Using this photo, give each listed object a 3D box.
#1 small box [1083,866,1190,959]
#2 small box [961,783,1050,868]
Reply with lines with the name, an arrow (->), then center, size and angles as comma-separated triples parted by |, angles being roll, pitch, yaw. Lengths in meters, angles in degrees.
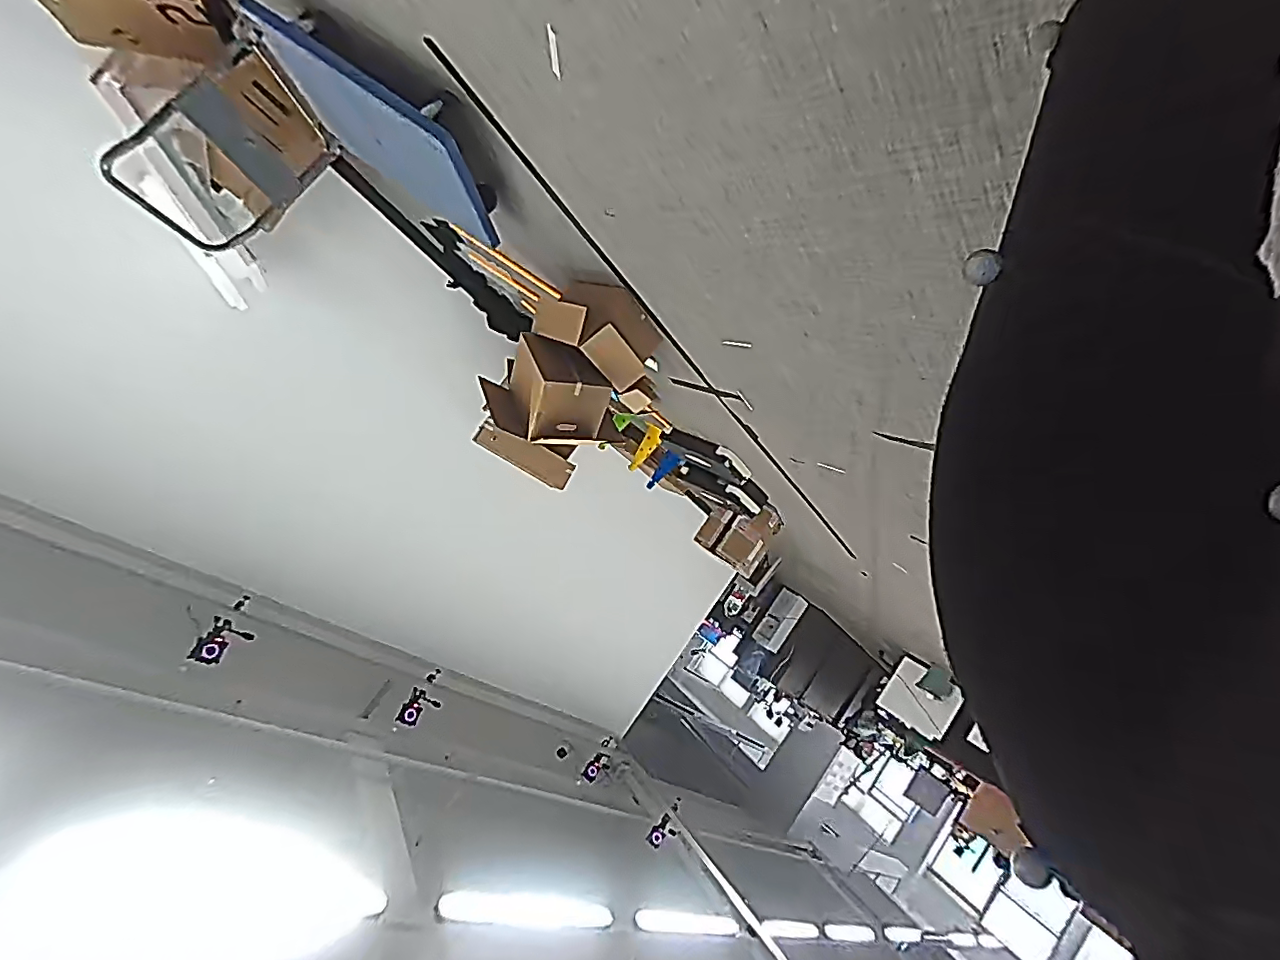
small box -> 1.377, 1.218, 1.501 | 0.168, 0.176, 0.179 | 42, 172, -39
small box -> 1.194, 1.119, 1.764 | 0.168, 0.176, 0.179 | 40, 172, -40
